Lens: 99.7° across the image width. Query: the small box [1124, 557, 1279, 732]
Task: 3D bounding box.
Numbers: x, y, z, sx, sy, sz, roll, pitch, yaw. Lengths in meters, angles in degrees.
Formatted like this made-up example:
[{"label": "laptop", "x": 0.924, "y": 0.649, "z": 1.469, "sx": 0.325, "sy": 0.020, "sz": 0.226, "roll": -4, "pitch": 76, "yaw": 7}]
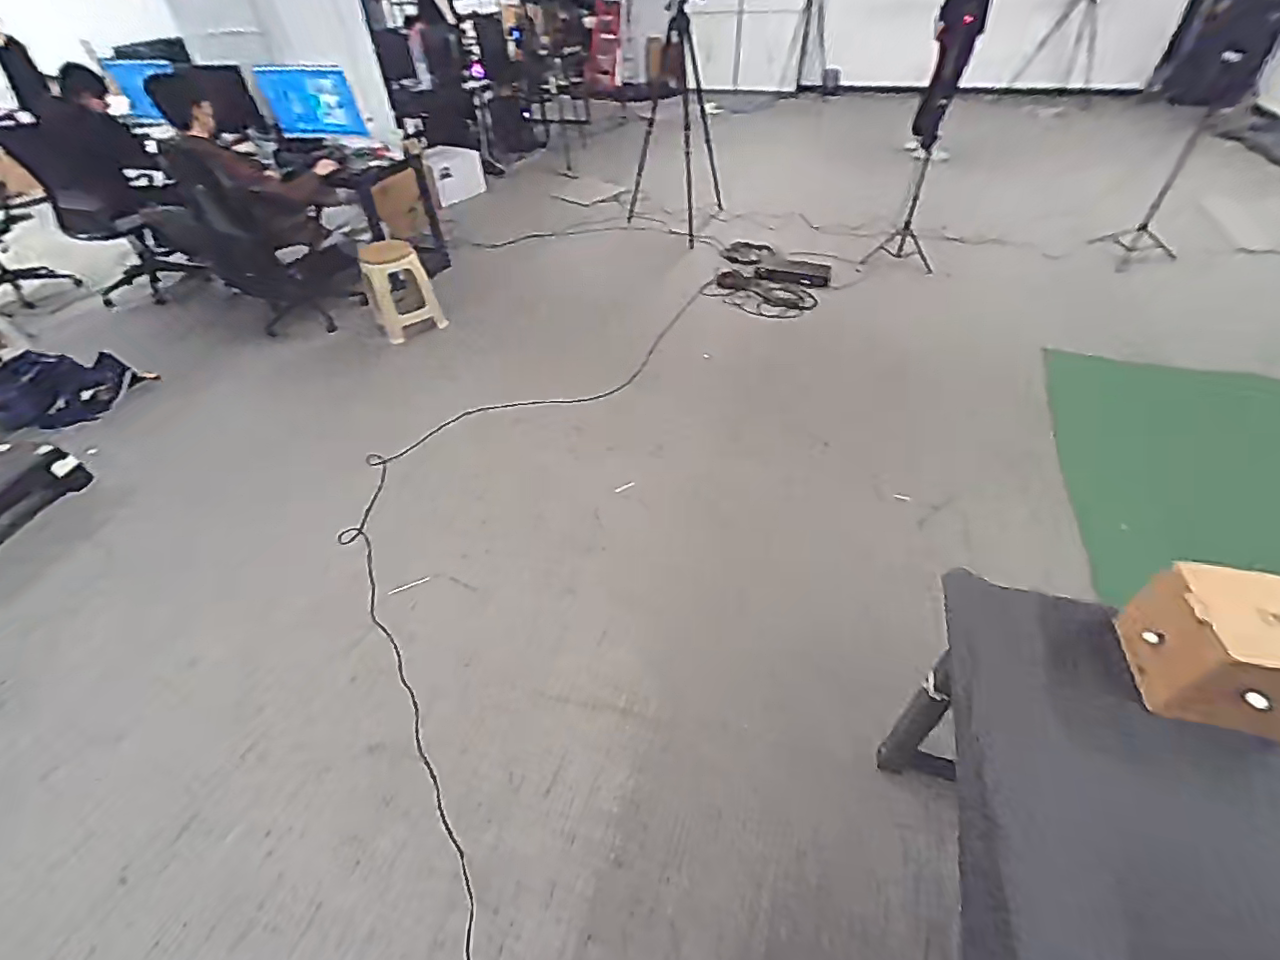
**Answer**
[{"label": "small box", "x": 0.856, "y": 0.239, "z": 0.783, "sx": 0.179, "sy": 0.176, "sz": 0.168, "roll": 9, "pitch": 46, "yaw": 13}]
